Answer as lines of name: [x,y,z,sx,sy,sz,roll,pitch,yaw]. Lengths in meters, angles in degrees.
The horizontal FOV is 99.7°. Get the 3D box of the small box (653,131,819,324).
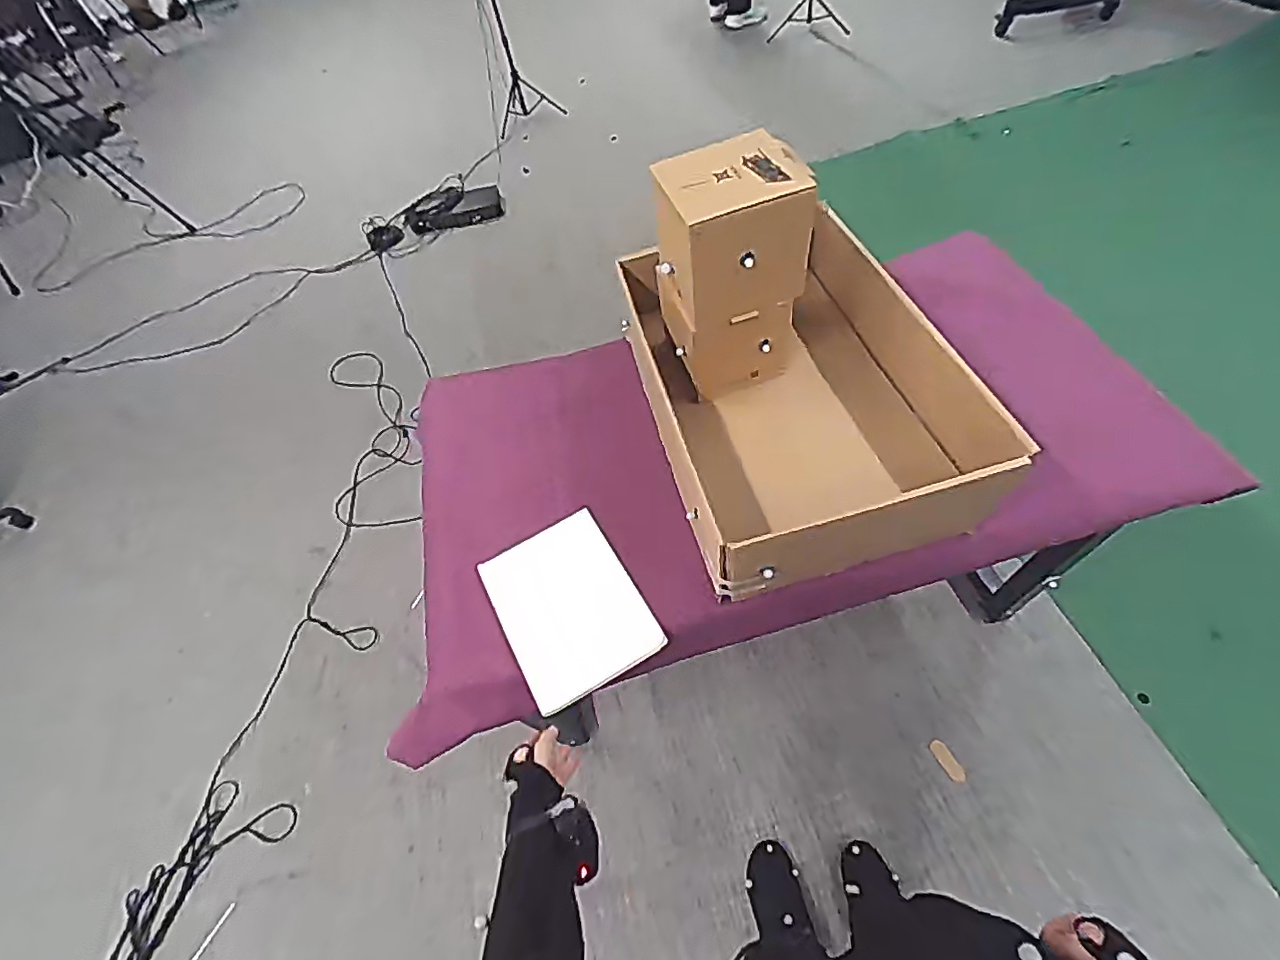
small box: [0.131,-0.357,0.779,0.179,0.176,0.168,-19,56,-3]
